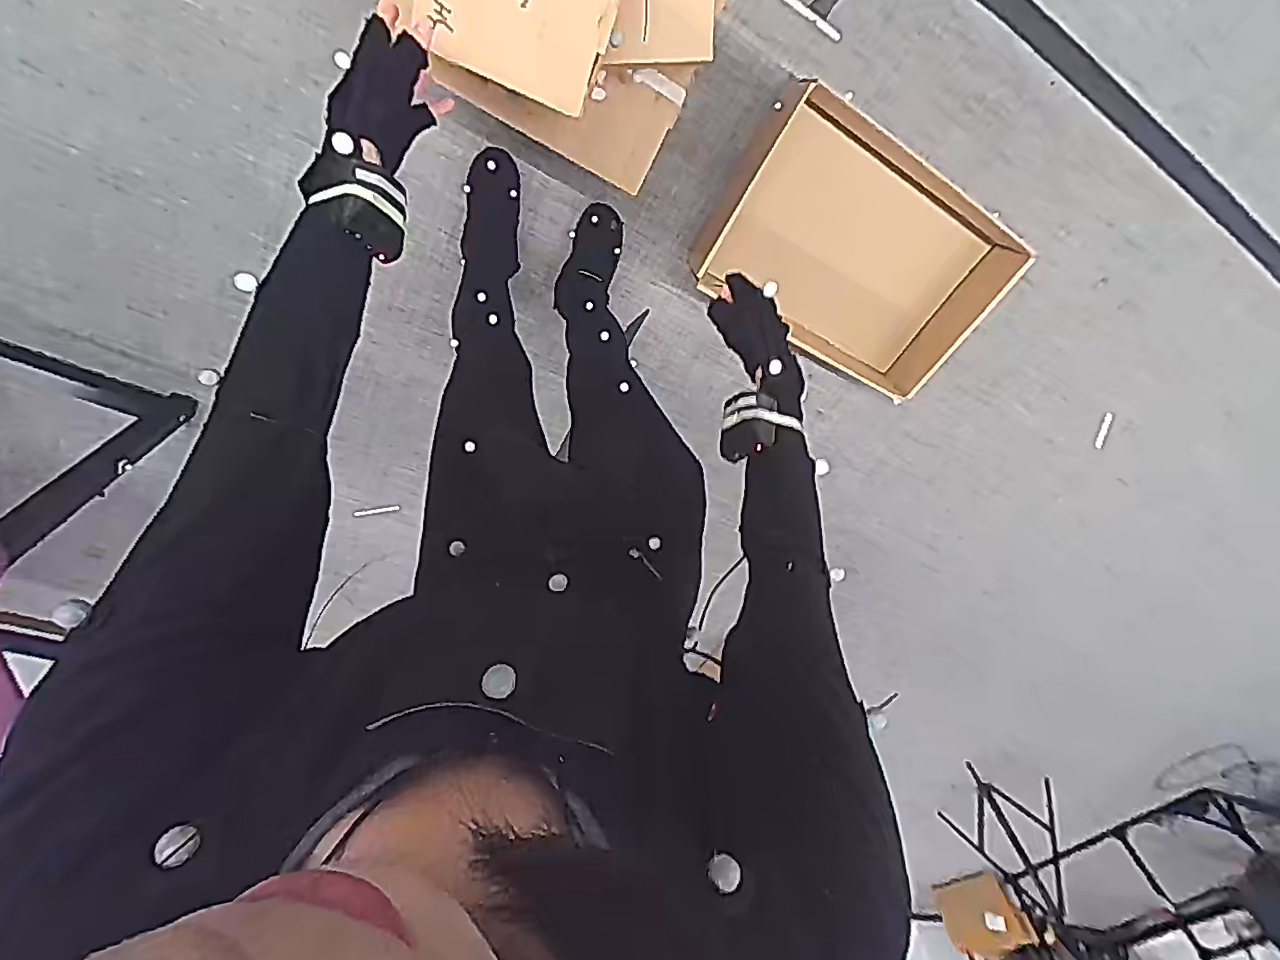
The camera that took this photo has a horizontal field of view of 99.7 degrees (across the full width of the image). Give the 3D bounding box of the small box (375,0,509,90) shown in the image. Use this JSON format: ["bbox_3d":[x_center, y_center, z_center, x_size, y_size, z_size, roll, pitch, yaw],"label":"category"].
[{"bbox_3d":[-0.200,-0.620,0.667,0.168,0.176,0.179,20,121,-20],"label":"small box"}]

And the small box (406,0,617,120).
[{"bbox_3d":[-0.115,-0.503,0.554,0.179,0.176,0.168,17,123,-15],"label":"small box"}]

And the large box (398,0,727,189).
[{"bbox_3d":[-0.120,-0.744,0.882,0.408,0.320,0.320,20,122,-19],"label":"large box"}]
